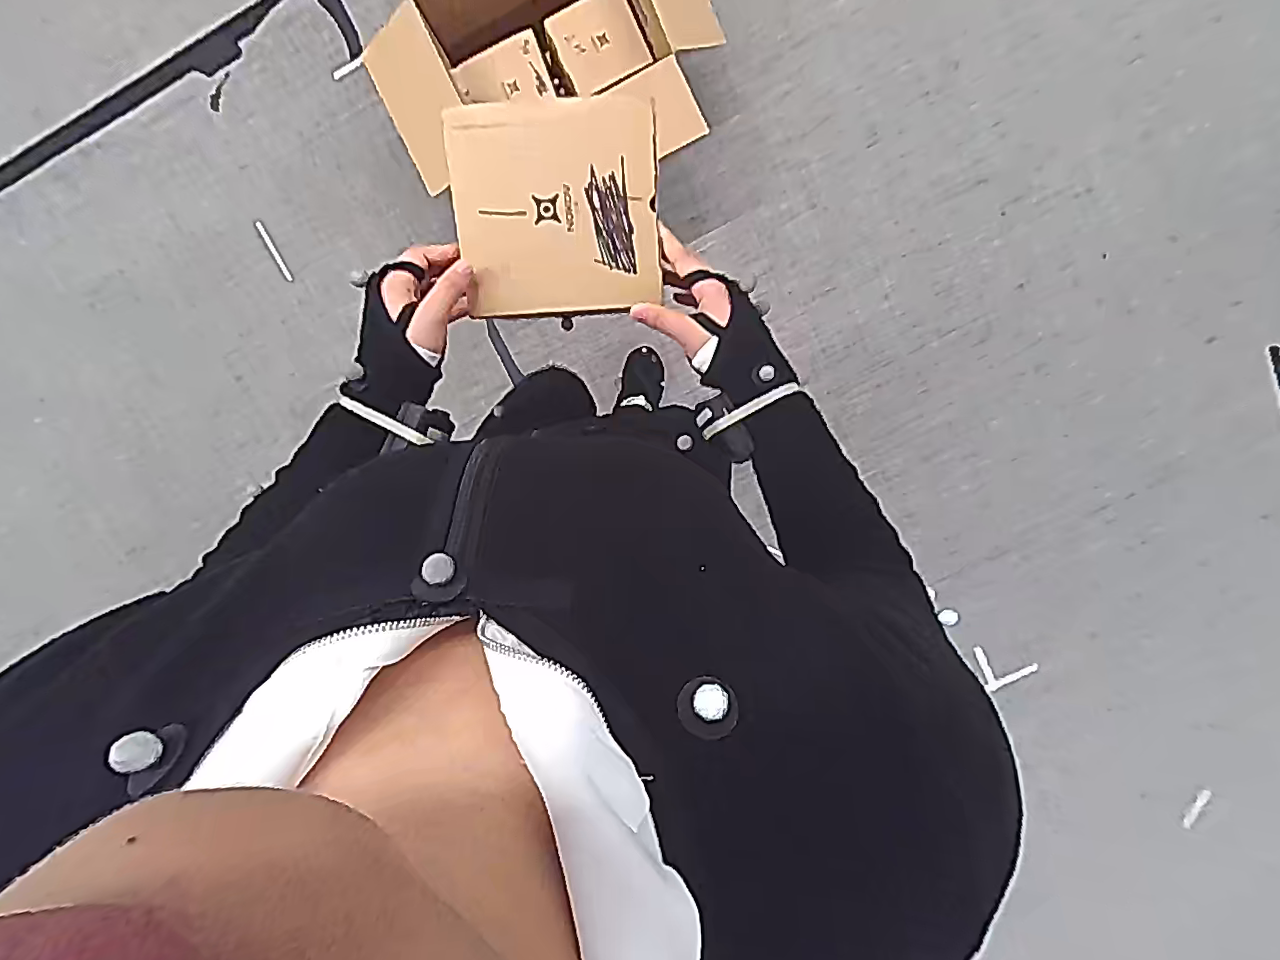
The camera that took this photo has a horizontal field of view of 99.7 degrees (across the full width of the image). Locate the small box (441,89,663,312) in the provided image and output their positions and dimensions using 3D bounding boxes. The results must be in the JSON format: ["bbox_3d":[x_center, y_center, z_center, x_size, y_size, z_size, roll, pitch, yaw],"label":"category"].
[{"bbox_3d":[-0.072,-0.257,0.535,0.179,0.176,0.168,-3,106,1],"label":"small box"}]
